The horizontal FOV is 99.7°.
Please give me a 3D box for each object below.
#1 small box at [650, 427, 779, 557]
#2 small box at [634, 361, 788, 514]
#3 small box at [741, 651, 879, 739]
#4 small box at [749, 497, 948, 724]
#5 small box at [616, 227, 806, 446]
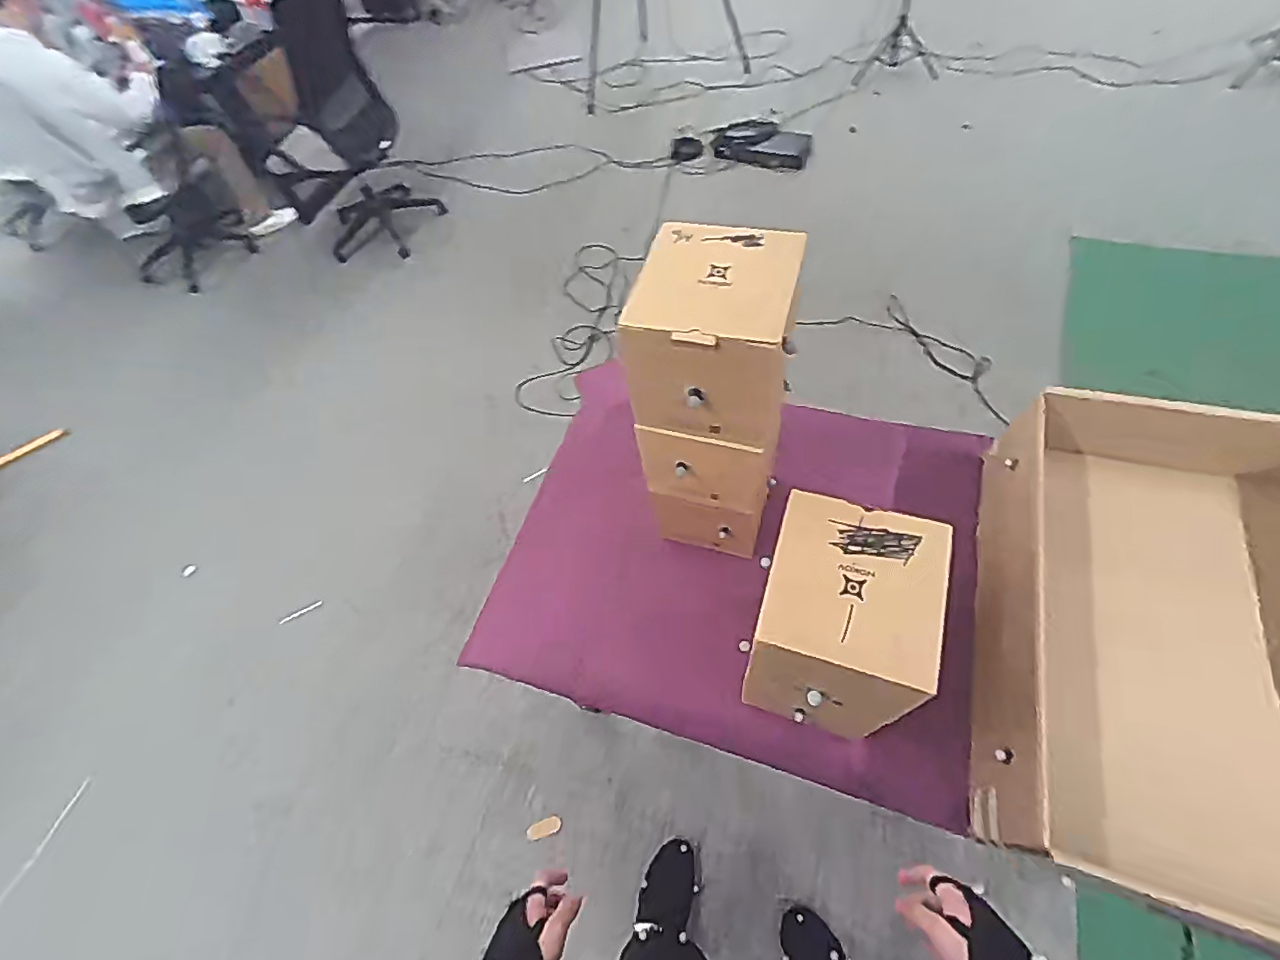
[{"bbox_3d":[0.129,0.008,0.909,0.168,0.176,0.179,14,61,16],"label":"small box"},{"bbox_3d":[0.106,-0.073,0.771,0.168,0.176,0.179,13,61,16],"label":"small box"},{"bbox_3d":[0.241,0.236,0.745,0.168,0.176,0.179,15,61,16],"label":"small box"},{"bbox_3d":[0.222,0.149,0.607,0.168,0.176,0.179,14,61,17],"label":"small box"},{"bbox_3d":[0.088,-0.163,0.634,0.168,0.176,0.179,13,62,15],"label":"small box"}]
